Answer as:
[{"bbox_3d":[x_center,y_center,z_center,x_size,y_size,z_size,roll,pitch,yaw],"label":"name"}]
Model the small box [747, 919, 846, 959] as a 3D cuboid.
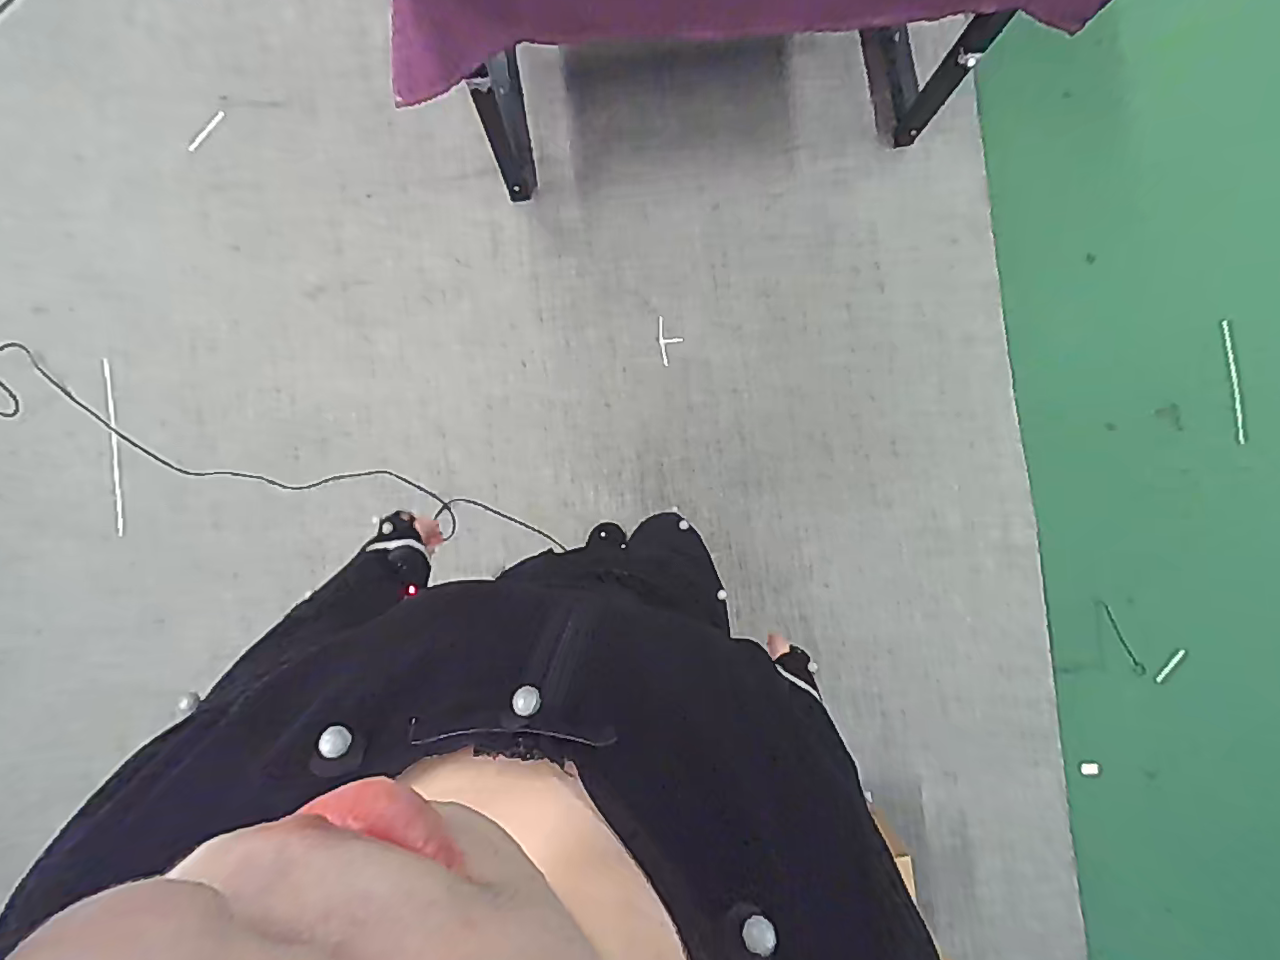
[{"bbox_3d":[0.288,0.918,0.938,0.168,0.176,0.179,-4,88,-1],"label":"small box"}]
